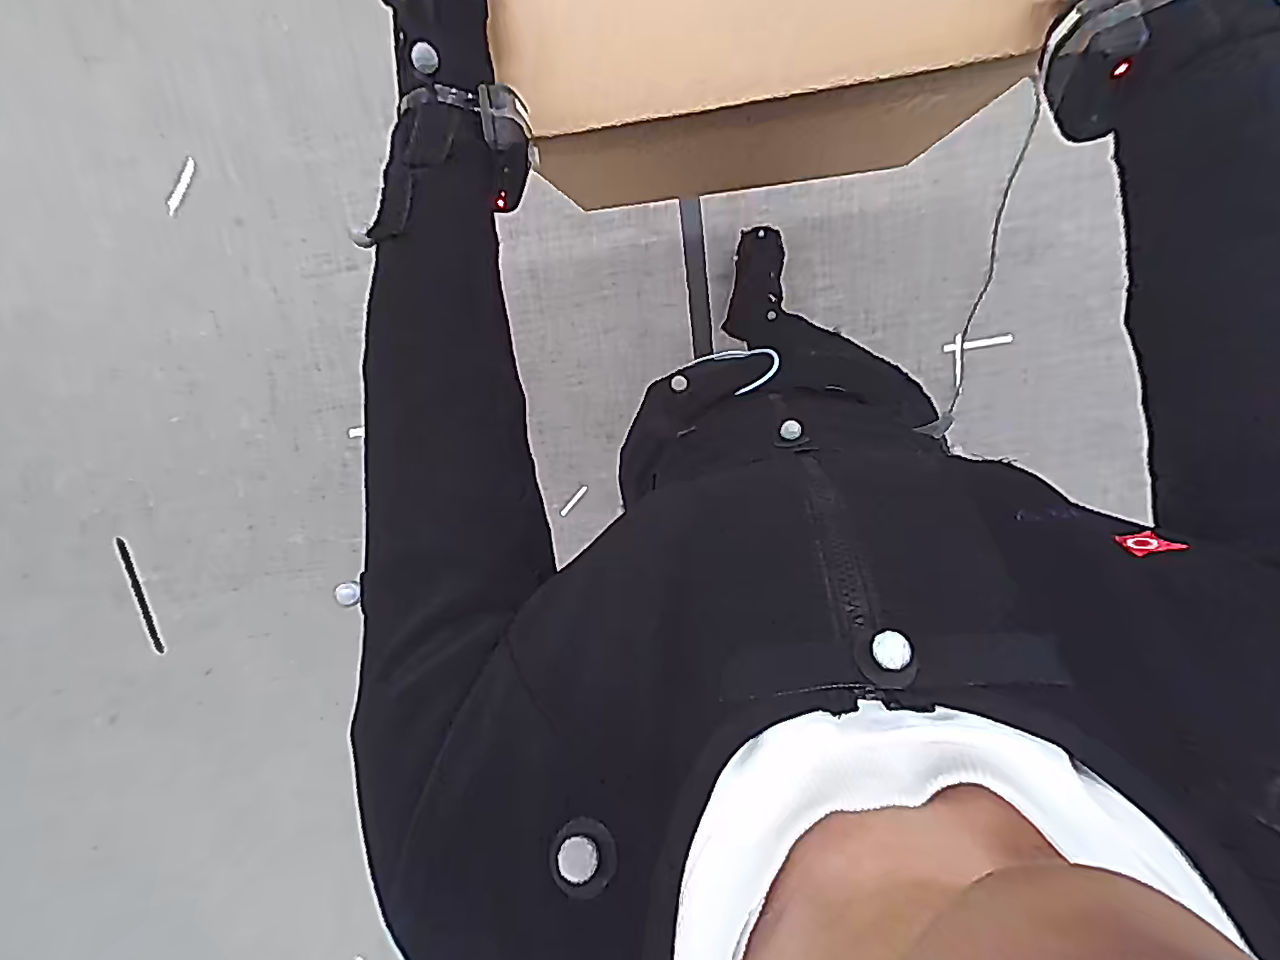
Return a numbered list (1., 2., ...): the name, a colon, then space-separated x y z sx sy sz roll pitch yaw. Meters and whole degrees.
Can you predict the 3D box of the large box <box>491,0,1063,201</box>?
1. large box: 0.089 -0.483 0.497 0.408 0.320 0.320 -5 107 8
